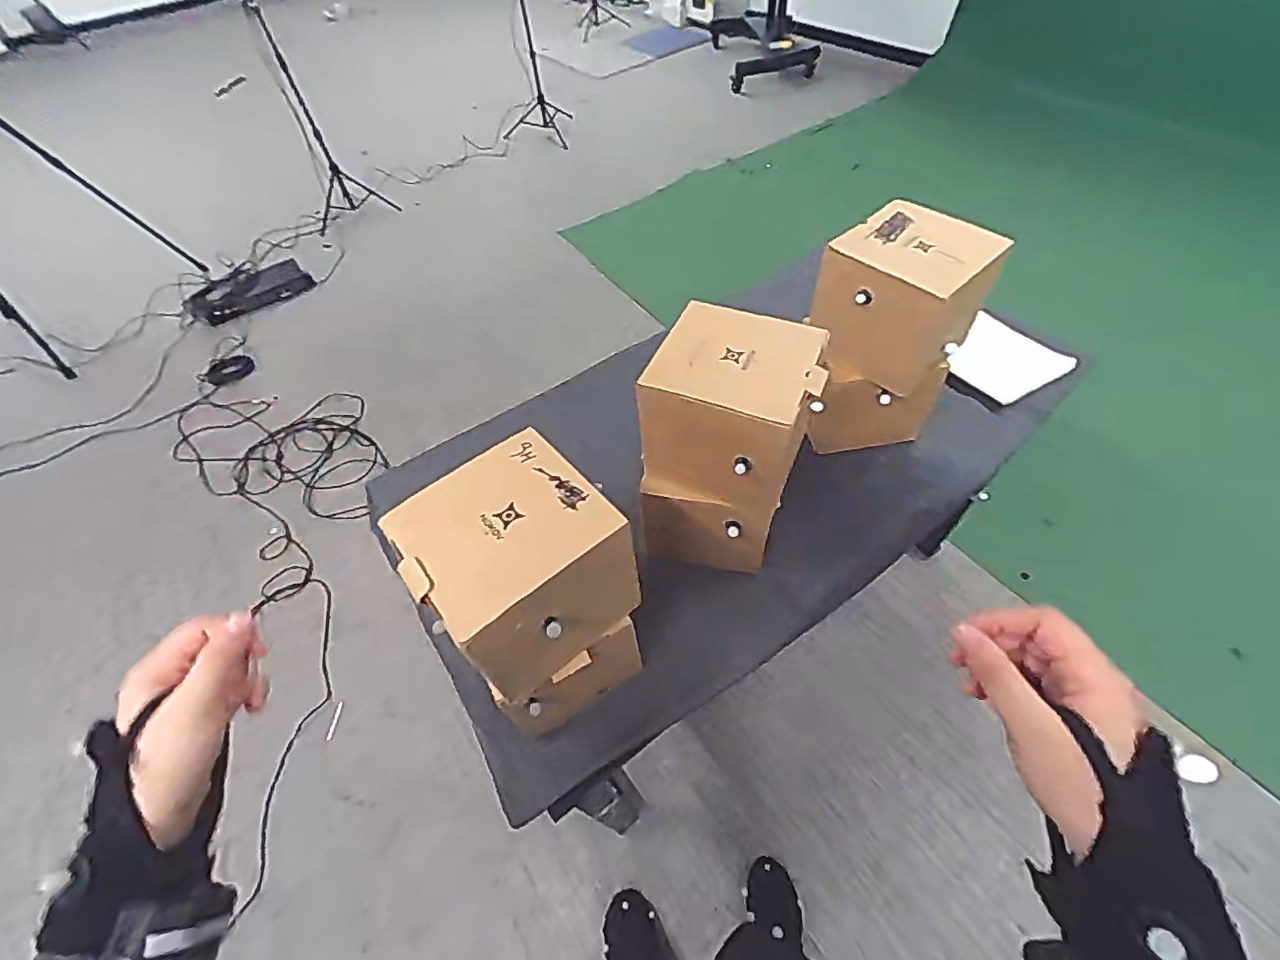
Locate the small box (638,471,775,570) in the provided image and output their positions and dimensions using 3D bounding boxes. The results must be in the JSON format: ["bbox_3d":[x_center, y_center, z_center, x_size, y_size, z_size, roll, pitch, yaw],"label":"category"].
[{"bbox_3d":[0.104,0.017,0.796,0.179,0.176,0.168,8,54,11],"label":"small box"}]

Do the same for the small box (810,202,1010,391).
[{"bbox_3d":[0.367,-0.259,0.773,0.168,0.176,0.179,-38,59,-20],"label":"small box"}]

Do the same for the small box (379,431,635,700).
[{"bbox_3d":[-0.121,0.091,0.554,0.179,0.176,0.168,-36,57,-20],"label":"small box"}]

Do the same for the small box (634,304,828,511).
[{"bbox_3d":[0.110,-0.085,0.667,0.179,0.176,0.168,18,56,18],"label":"small box"}]

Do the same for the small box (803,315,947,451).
[{"bbox_3d":[0.368,-0.169,0.912,0.179,0.176,0.168,-9,53,-1],"label":"small box"}]
